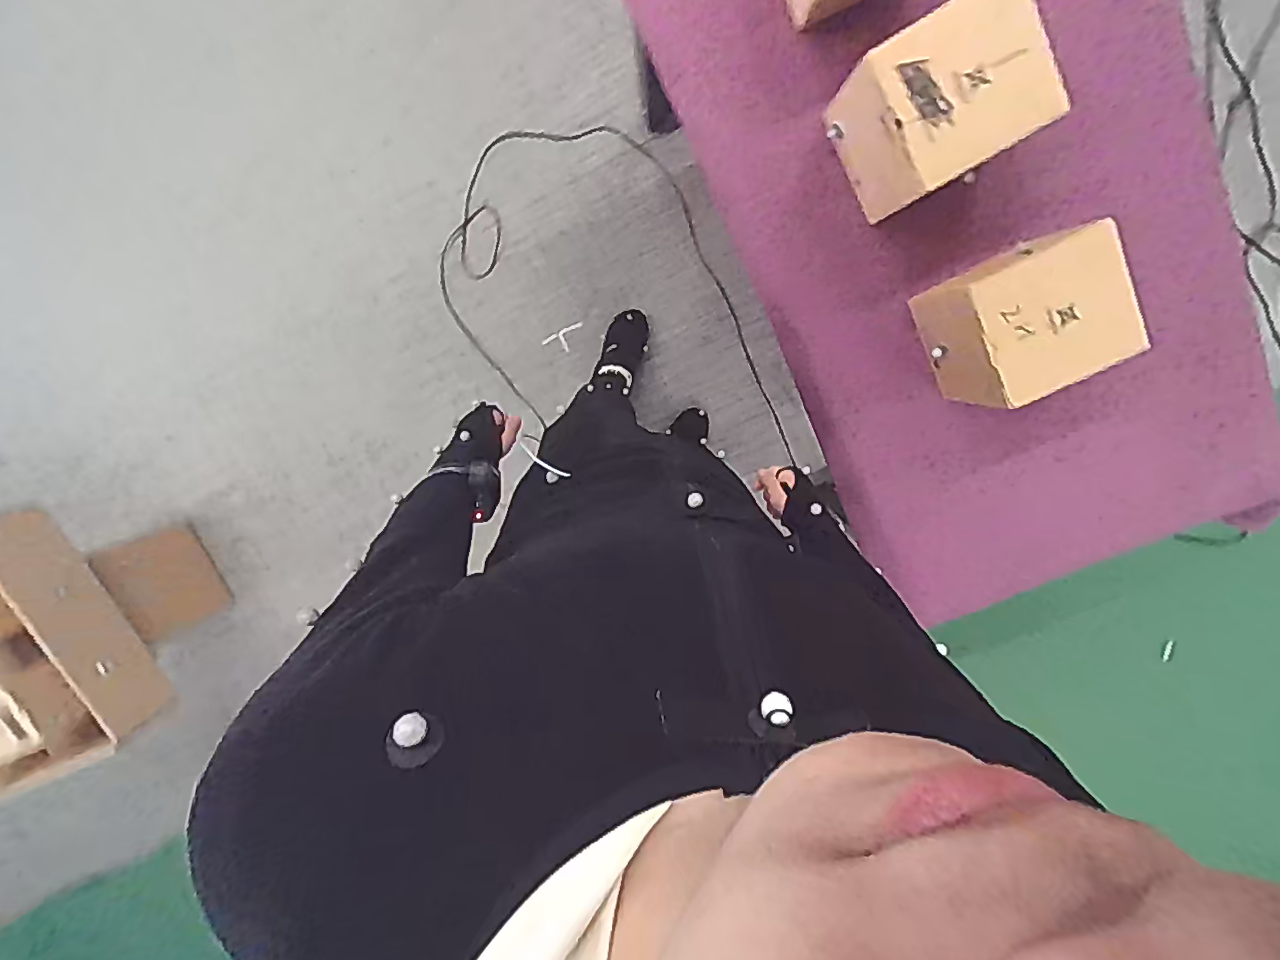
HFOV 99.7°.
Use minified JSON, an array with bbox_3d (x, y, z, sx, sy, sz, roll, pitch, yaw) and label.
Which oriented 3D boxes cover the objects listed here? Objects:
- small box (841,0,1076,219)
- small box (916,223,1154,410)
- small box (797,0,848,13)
[{"bbox_3d":[0.373,-0.457,0.673,0.179,0.176,0.168,-28,101,7],"label":"small box"},{"bbox_3d":[0.514,-0.212,0.727,0.179,0.176,0.168,-25,101,8],"label":"small box"},{"bbox_3d":[0.259,-0.692,0.619,0.168,0.176,0.179,-23,103,7],"label":"small box"}]
